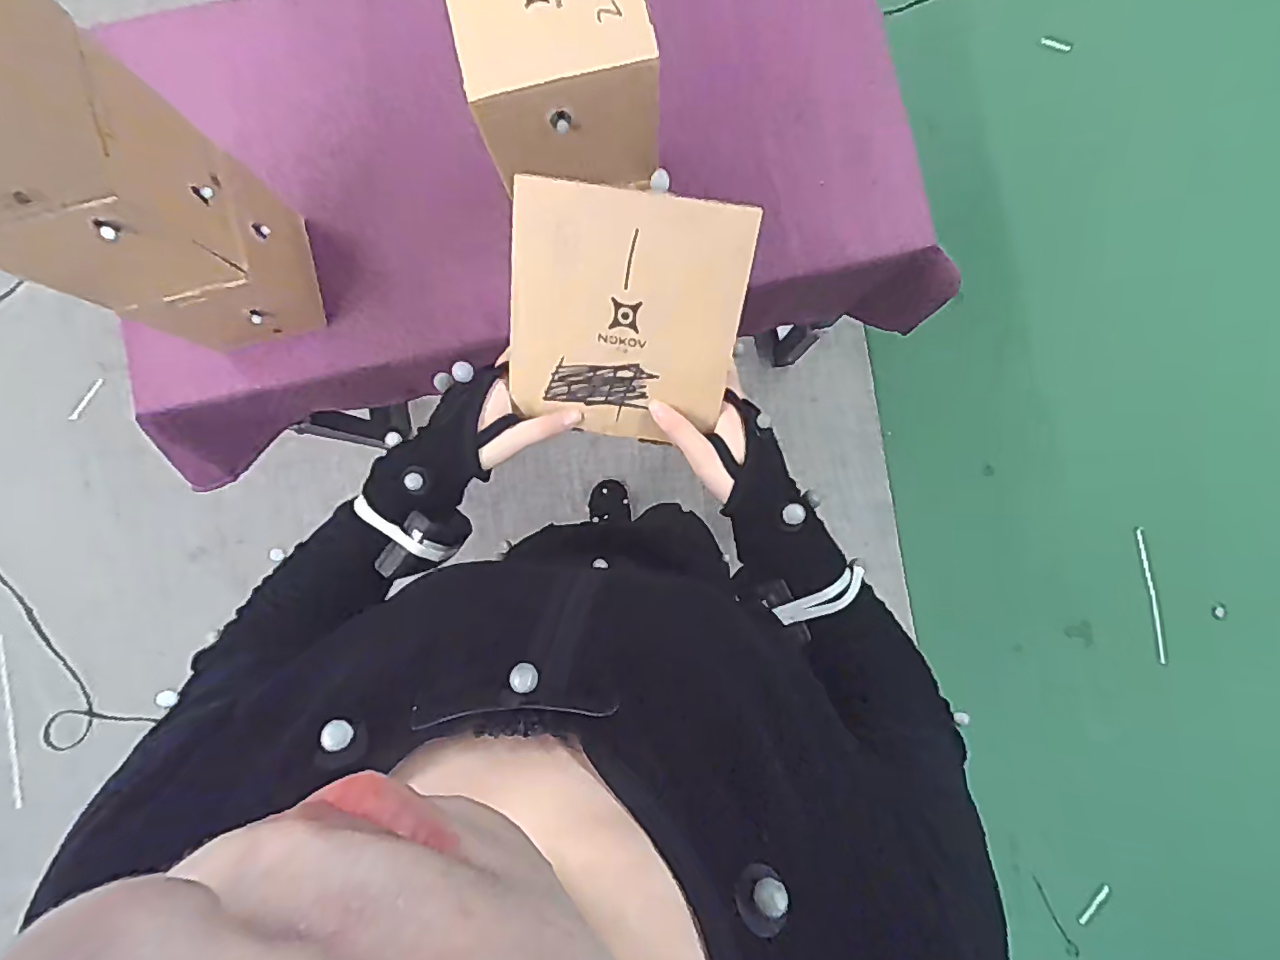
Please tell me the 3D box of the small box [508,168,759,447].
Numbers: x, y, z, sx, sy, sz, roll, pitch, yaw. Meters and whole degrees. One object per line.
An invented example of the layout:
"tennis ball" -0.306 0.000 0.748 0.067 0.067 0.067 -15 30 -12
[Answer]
"small box" -0.006 -0.151 0.461 0.168 0.176 0.179 9 118 0

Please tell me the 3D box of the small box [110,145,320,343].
"small box" -0.561 -0.295 0.720 0.168 0.176 0.179 -13 87 -2

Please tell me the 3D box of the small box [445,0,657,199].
"small box" -0.082 -0.419 0.560 0.179 0.176 0.168 -12 87 0

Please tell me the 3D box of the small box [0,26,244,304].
"small box" -0.564 -0.303 0.558 0.179 0.176 0.168 -15 87 -2
